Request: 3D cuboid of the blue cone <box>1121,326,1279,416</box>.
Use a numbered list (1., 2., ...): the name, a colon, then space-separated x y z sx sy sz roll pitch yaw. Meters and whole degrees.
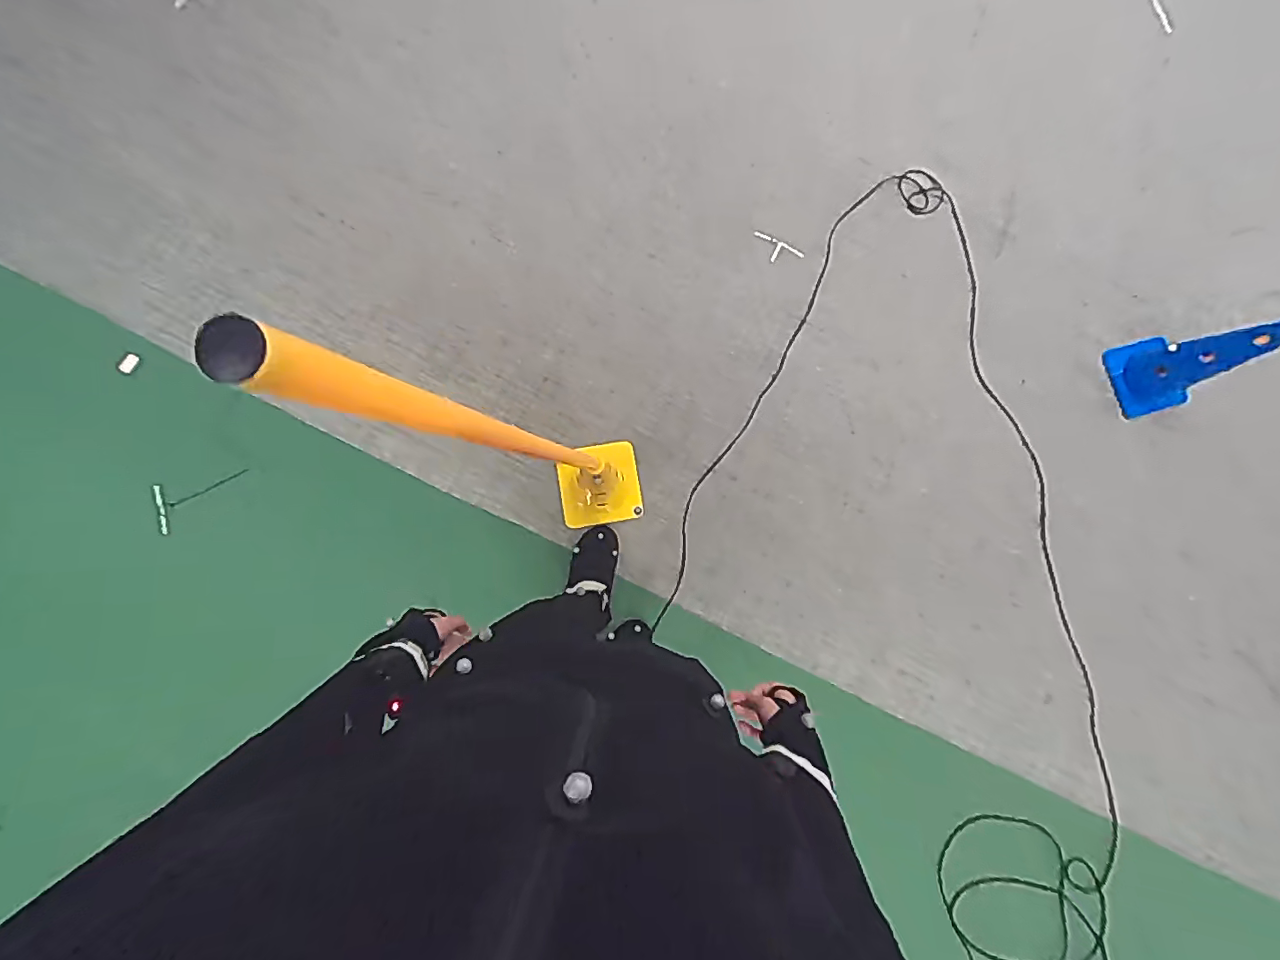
1. blue cone: 1.400 -0.302 1.278 0.193 0.380 0.192 -18 84 -6
